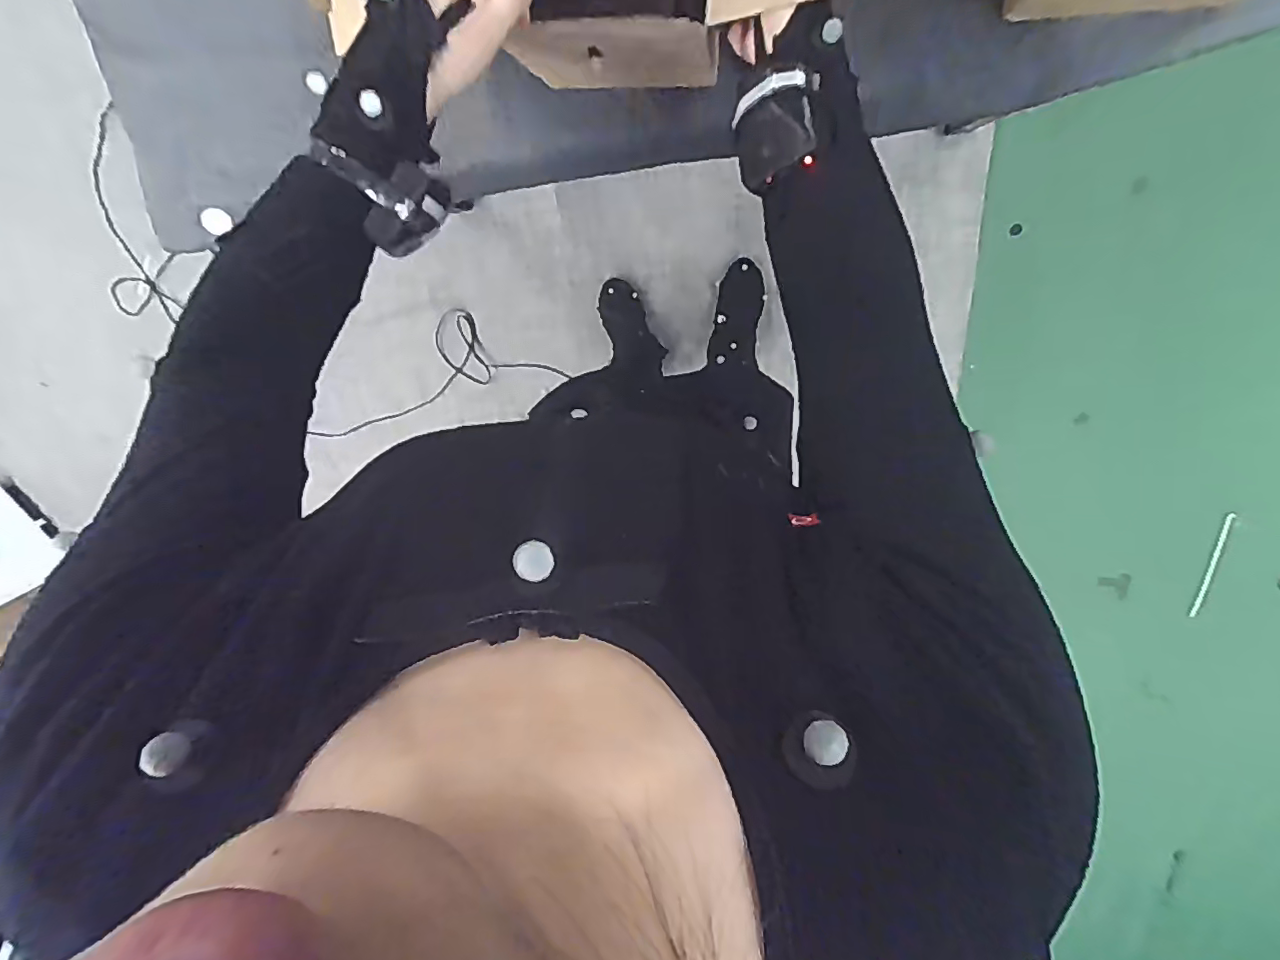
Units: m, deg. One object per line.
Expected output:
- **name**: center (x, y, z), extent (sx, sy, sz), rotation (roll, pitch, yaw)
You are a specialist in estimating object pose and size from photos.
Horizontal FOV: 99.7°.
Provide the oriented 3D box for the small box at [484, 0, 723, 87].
- **small box**: center (-0.019, -0.447, 0.454), extent (0.179, 0.176, 0.168), rotation (6, 116, 8)
